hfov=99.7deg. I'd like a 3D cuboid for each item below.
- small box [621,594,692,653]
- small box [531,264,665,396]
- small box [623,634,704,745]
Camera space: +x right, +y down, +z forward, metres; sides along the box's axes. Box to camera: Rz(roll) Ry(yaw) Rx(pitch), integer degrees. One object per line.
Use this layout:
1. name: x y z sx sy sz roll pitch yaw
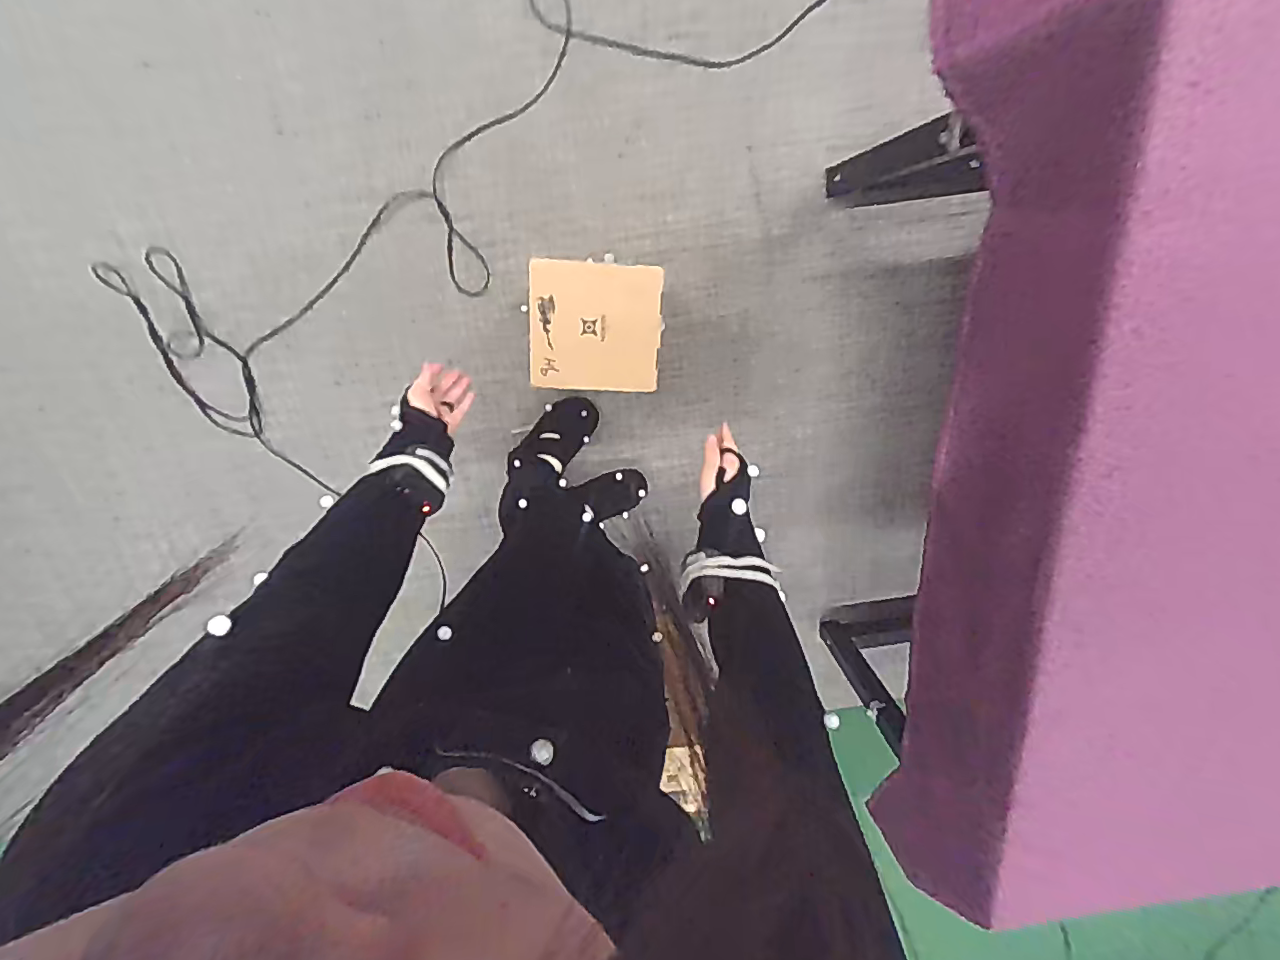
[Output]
1. small box: 0.039 0.409 1.403 0.168 0.176 0.179 -4 112 -4
2. small box: -0.067 -0.226 0.798 0.179 0.176 0.168 1 110 -7
3. small box: 0.052 0.476 1.255 0.168 0.176 0.179 -6 112 -2
